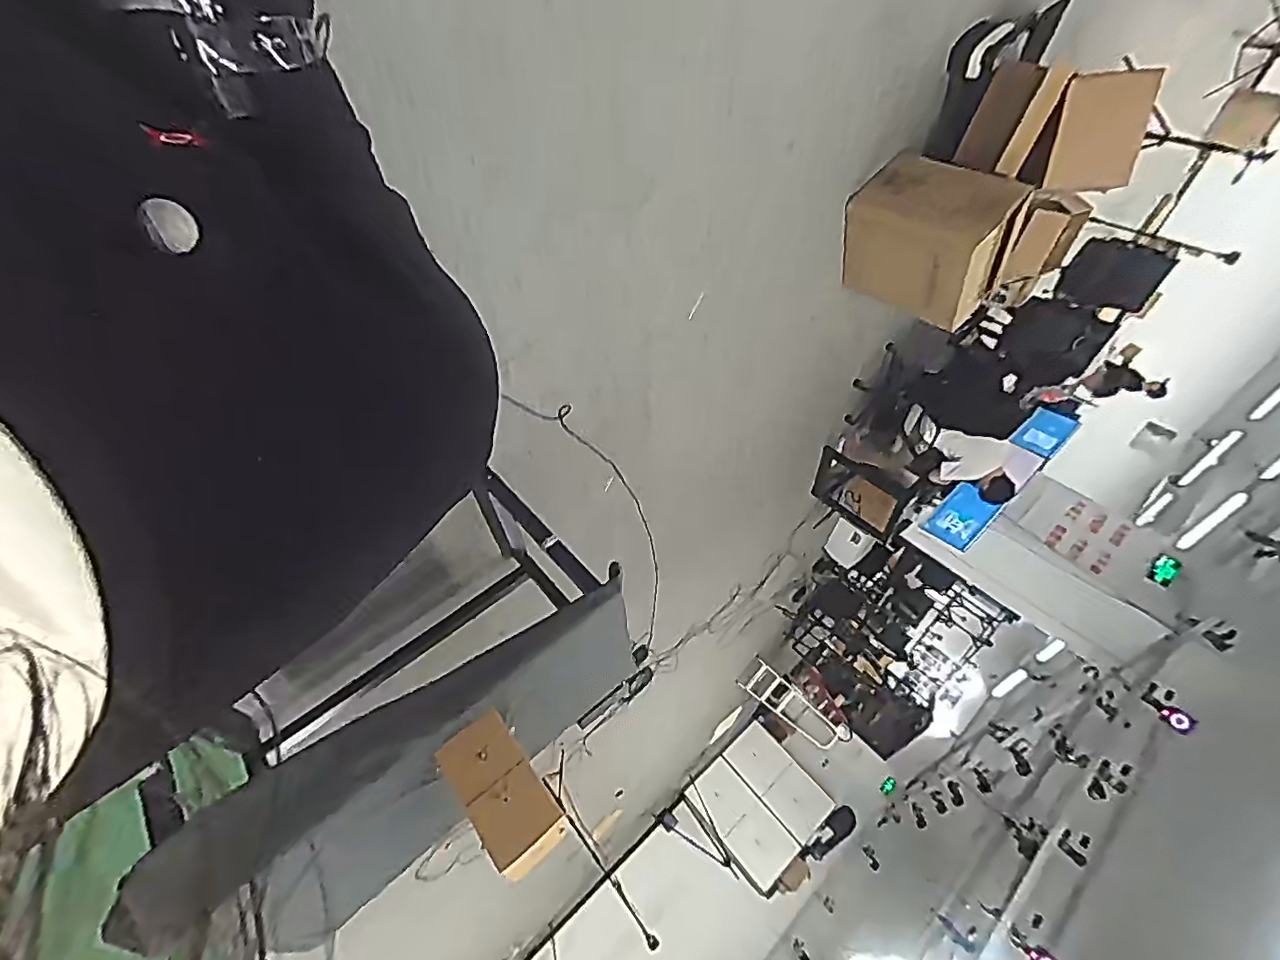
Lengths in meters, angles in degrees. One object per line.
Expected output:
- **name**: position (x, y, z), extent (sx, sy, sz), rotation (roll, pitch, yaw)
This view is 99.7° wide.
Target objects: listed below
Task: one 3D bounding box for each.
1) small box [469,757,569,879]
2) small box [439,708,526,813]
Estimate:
- **small box**: position (-0.301, 0.826, 1.327), extent (0.179, 0.176, 0.168), rotation (-32, 146, -25)
- **small box**: position (-0.405, 0.740, 1.413), extent (0.179, 0.176, 0.168), rotation (-31, 146, -27)
